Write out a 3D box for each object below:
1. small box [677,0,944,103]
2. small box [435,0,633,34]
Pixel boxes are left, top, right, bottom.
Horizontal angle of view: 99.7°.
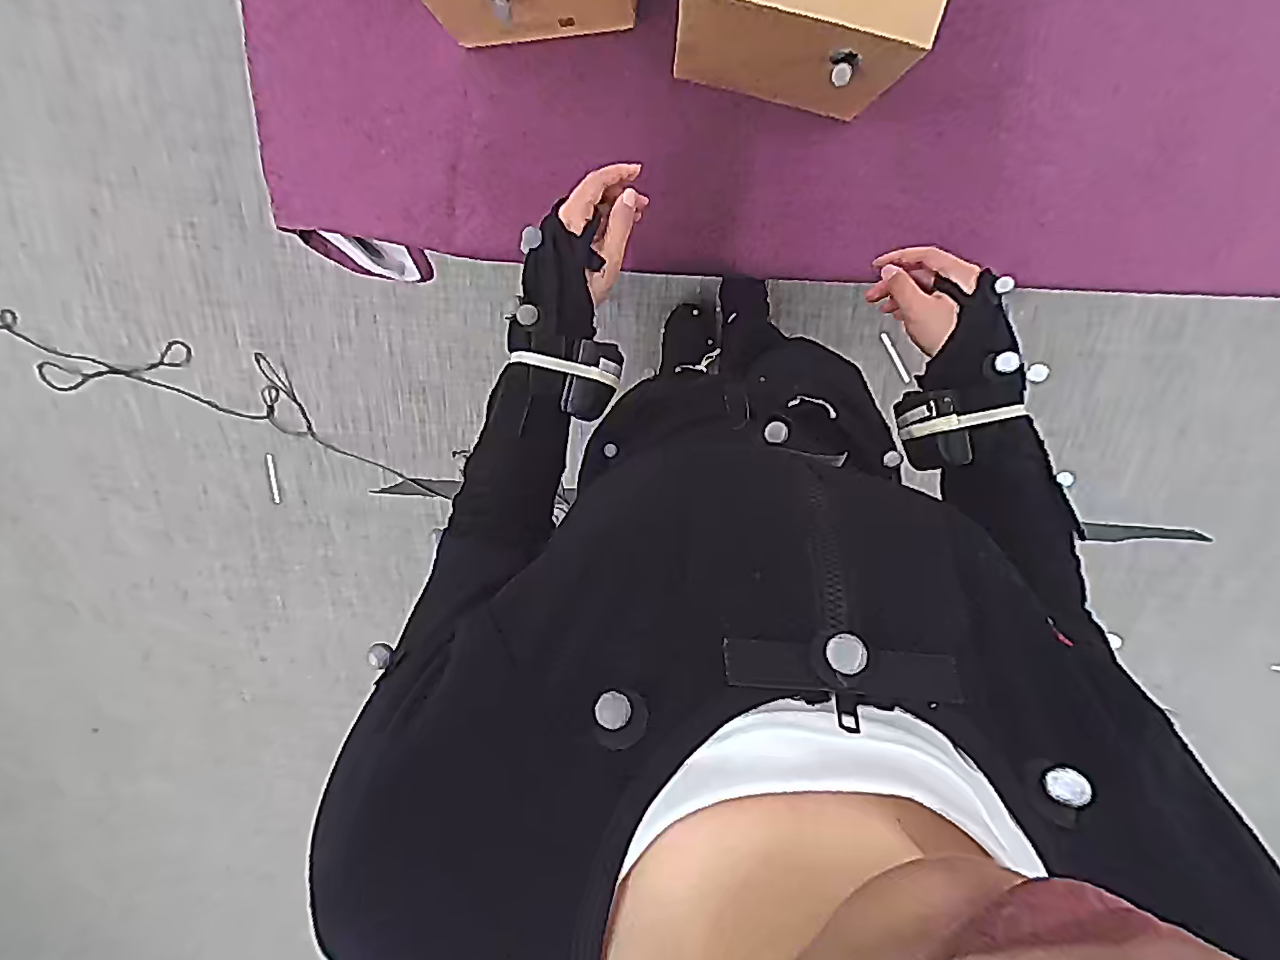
[{"bbox_3d":[0.131,-0.416,0.408,0.179,0.176,0.168,12,109,-2],"label":"small box"},{"bbox_3d":[-0.095,-0.467,0.399,0.168,0.176,0.179,-5,110,4],"label":"small box"}]
